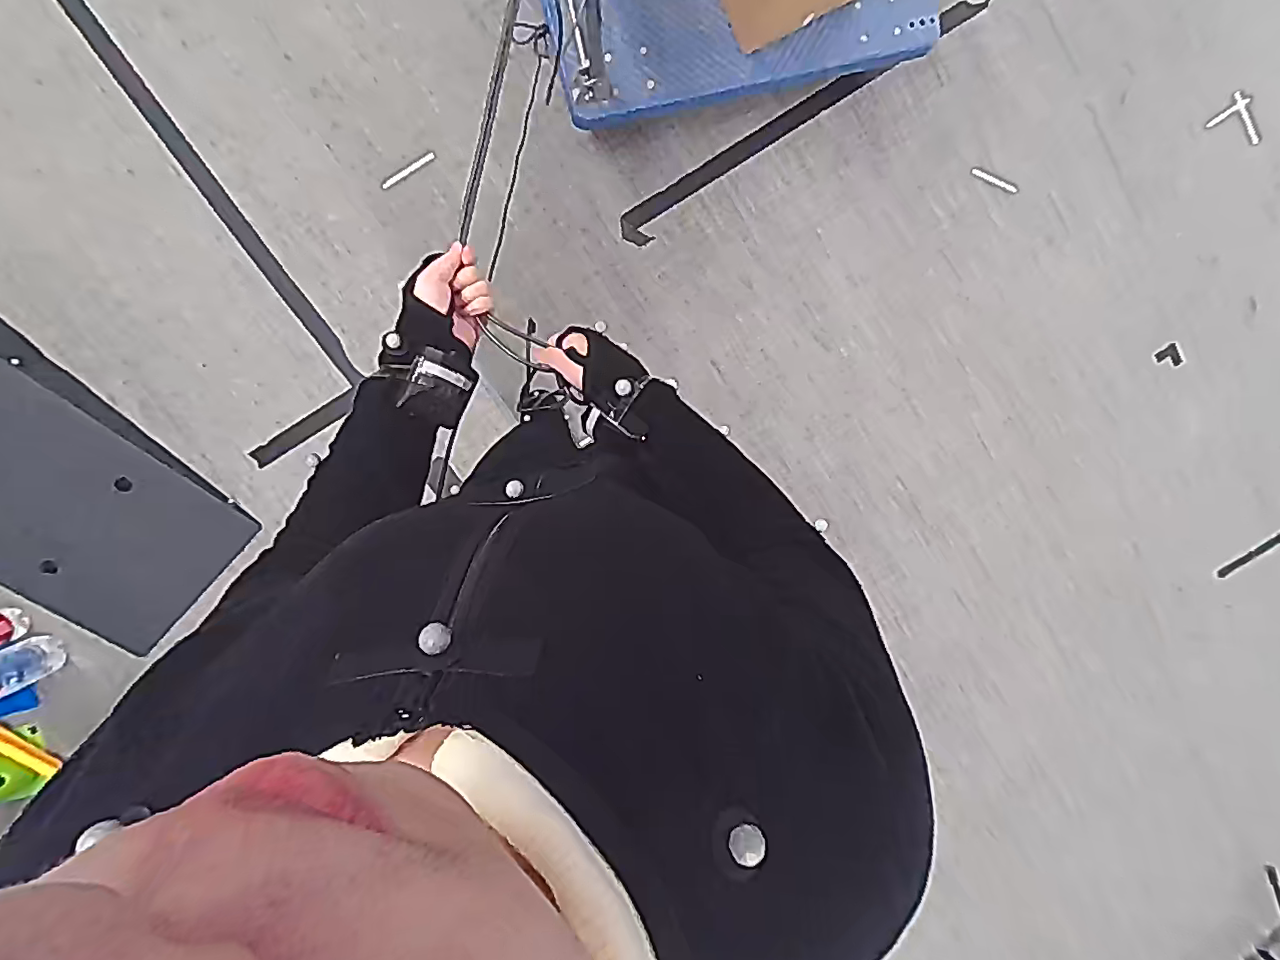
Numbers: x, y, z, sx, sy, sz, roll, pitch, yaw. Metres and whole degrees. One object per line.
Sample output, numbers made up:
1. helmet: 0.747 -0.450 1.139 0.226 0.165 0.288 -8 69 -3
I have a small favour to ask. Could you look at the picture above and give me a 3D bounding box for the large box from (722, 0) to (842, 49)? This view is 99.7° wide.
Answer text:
1. large box: 0.285 -1.173 1.024 0.320 0.320 0.408 -28 100 0
